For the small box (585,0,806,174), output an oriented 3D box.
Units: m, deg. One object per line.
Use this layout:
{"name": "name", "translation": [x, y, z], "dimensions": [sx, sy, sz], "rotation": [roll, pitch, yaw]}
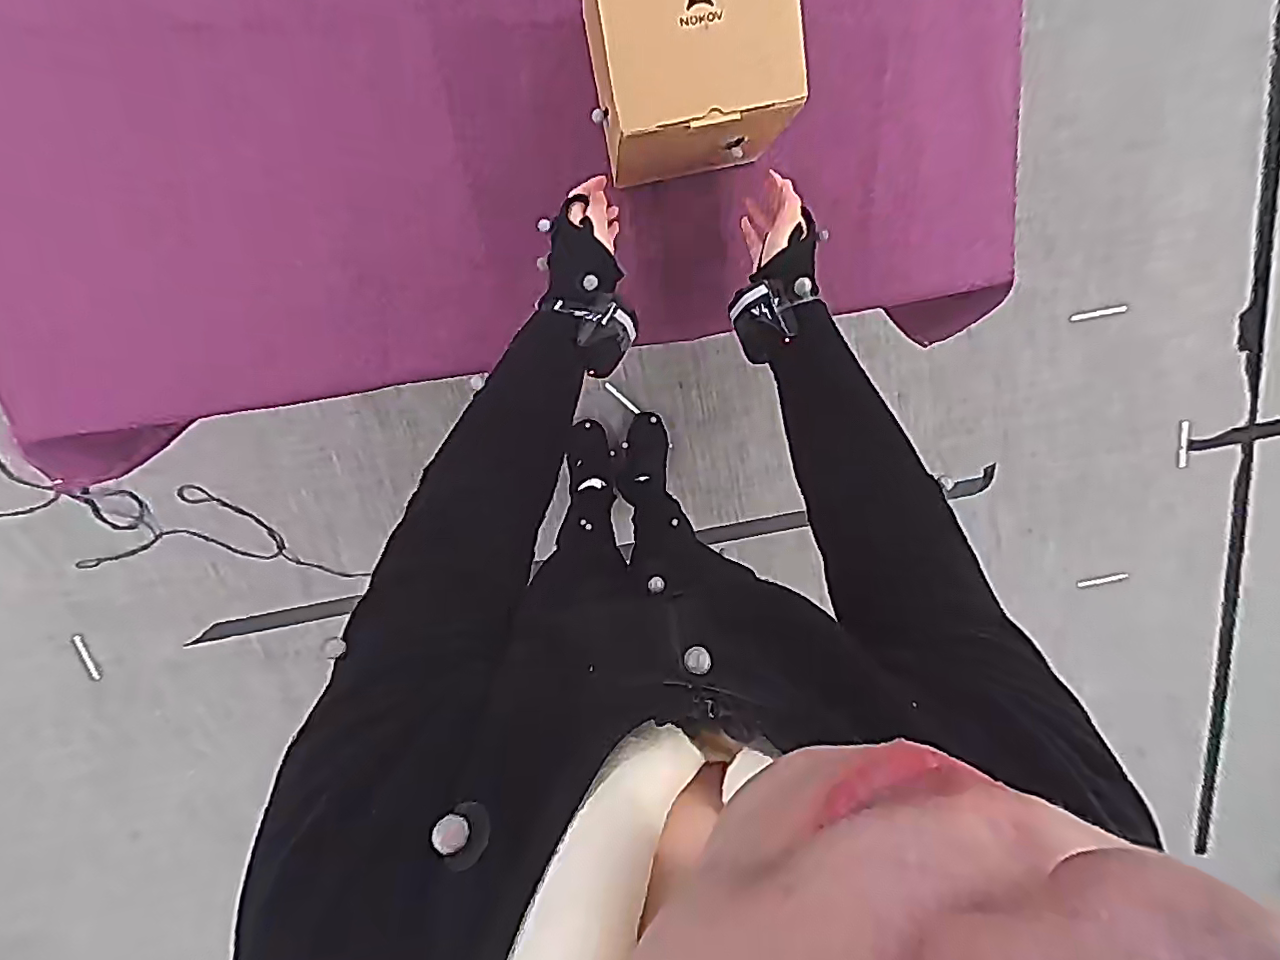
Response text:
{"name": "small box", "translation": [0.042, -0.410, 0.511], "dimensions": [0.168, 0.176, 0.179], "rotation": [-11, 105, -2]}
